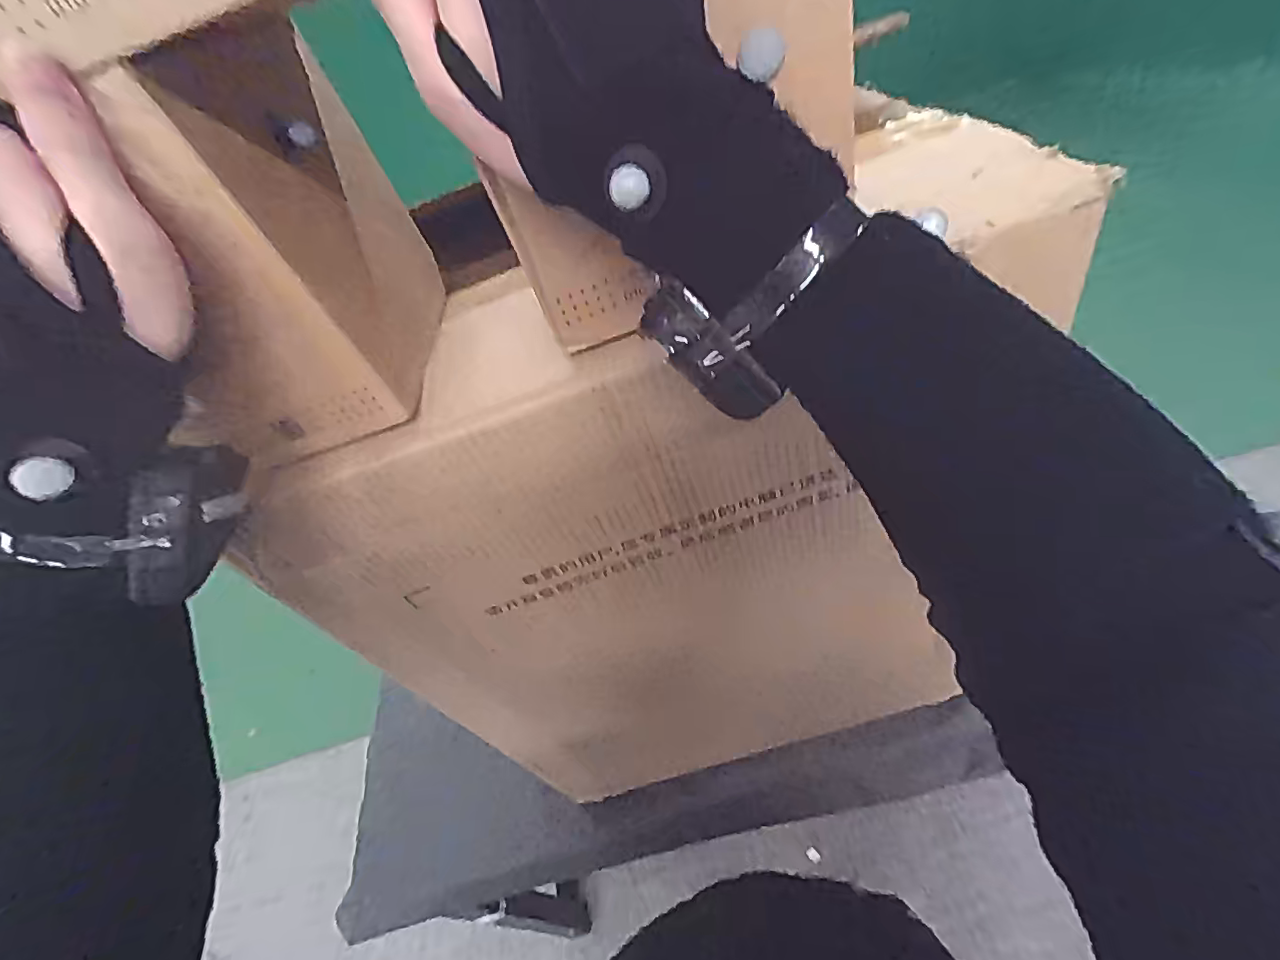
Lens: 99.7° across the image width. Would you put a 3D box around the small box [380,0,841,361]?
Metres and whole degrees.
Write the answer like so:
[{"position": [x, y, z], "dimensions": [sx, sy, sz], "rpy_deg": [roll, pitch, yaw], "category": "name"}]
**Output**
[{"position": [-0.009, -0.195, 0.292], "dimensions": [0.168, 0.176, 0.179], "rpy_deg": [-22, 45, 3], "category": "small box"}]
